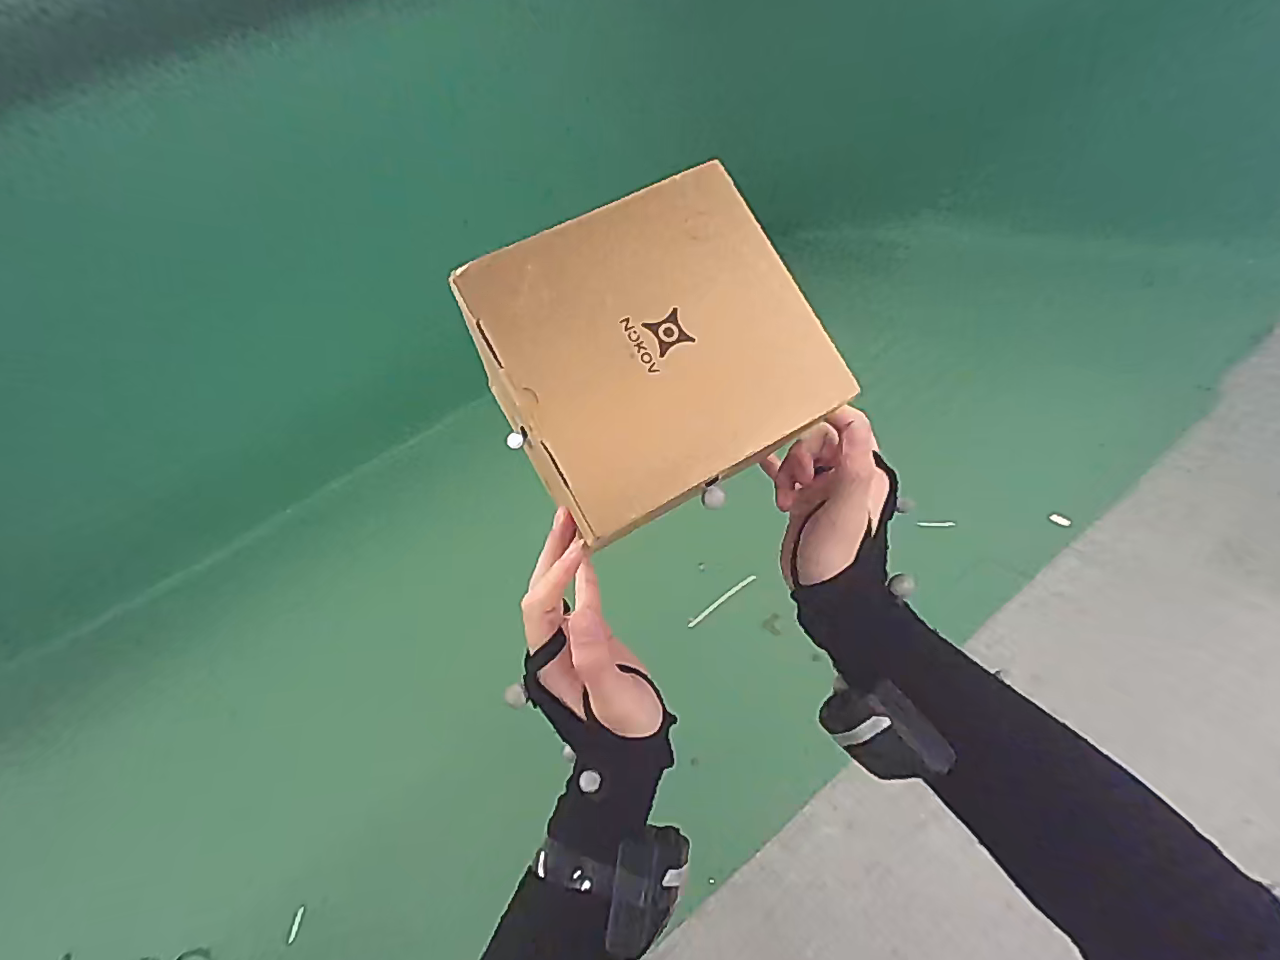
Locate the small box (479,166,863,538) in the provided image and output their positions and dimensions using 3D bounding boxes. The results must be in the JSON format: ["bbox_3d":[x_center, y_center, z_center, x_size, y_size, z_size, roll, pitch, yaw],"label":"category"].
[{"bbox_3d":[0.011,-0.071,0.387,0.179,0.168,0.176,-28,-6,-10],"label":"small box"}]
